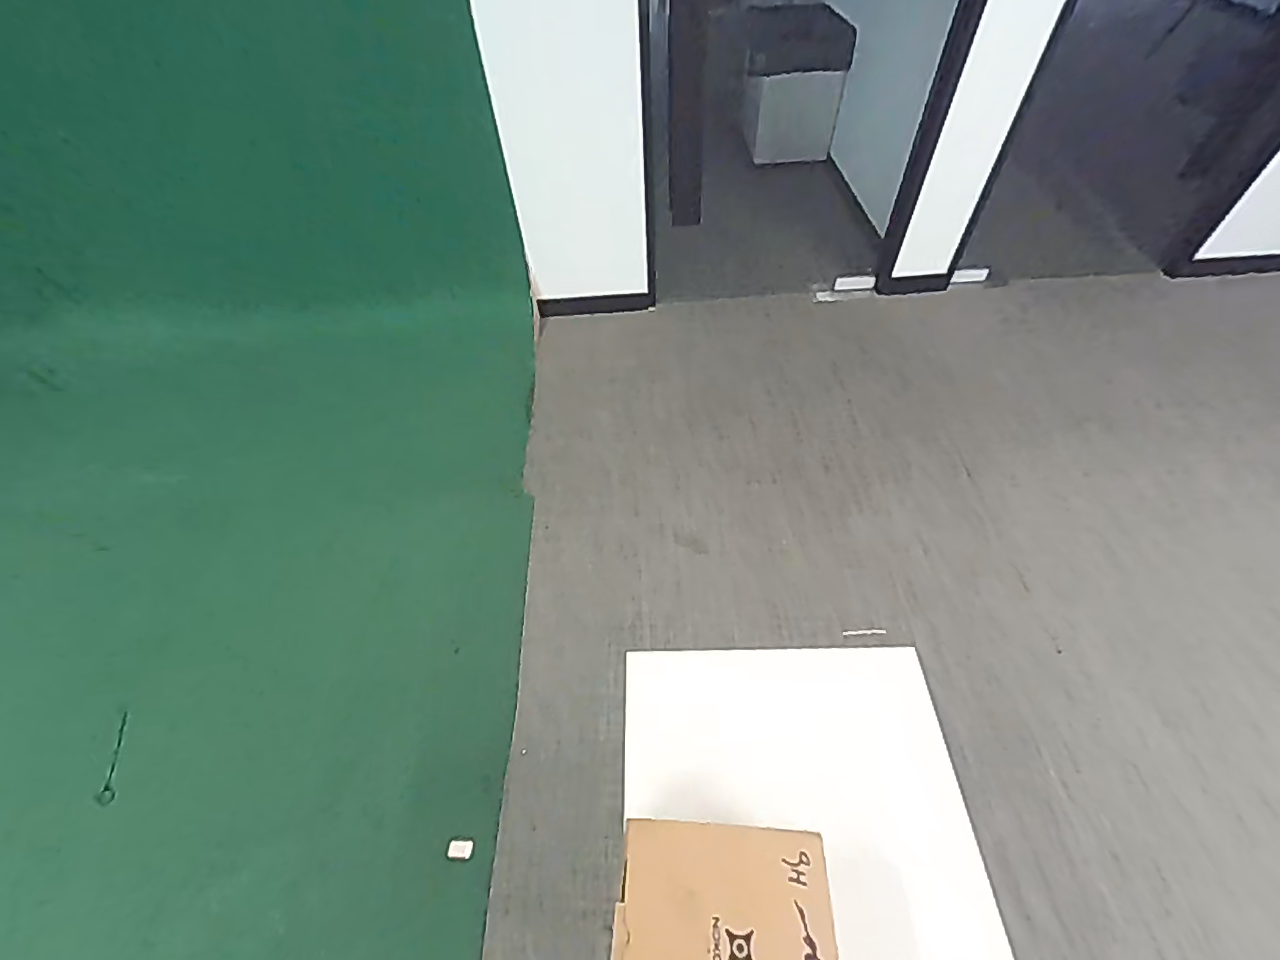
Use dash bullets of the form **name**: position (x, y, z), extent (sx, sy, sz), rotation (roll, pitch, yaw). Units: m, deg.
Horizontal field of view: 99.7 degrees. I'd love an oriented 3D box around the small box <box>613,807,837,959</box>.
- **small box**: position (0.066, 0.416, 0.489), extent (0.179, 0.176, 0.168), rotation (5, 48, 1)
